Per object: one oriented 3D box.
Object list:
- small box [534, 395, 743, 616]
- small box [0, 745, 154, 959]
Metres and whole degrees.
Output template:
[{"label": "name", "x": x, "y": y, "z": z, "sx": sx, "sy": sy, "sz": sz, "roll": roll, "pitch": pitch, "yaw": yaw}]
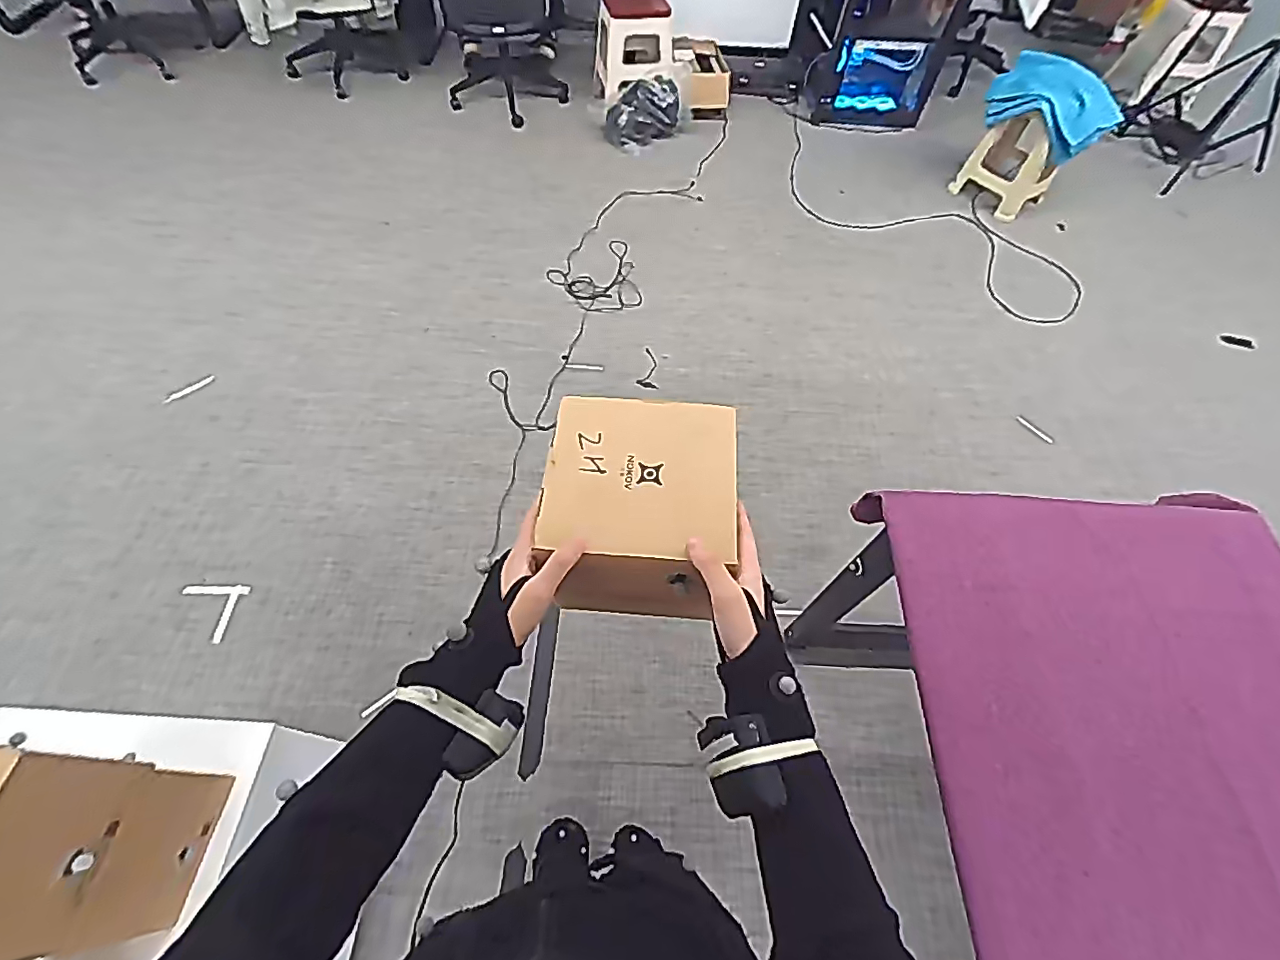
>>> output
[{"label": "small box", "x": 0.004, "y": 0.034, "z": 0.555, "sx": 0.179, "sy": 0.176, "sz": 0.168, "roll": 4, "pitch": 60, "yaw": 3}, {"label": "small box", "x": -0.626, "y": 0.337, "z": 0.496, "sx": 0.179, "sy": 0.176, "sz": 0.168, "roll": 6, "pitch": 59, "yaw": 0}]
